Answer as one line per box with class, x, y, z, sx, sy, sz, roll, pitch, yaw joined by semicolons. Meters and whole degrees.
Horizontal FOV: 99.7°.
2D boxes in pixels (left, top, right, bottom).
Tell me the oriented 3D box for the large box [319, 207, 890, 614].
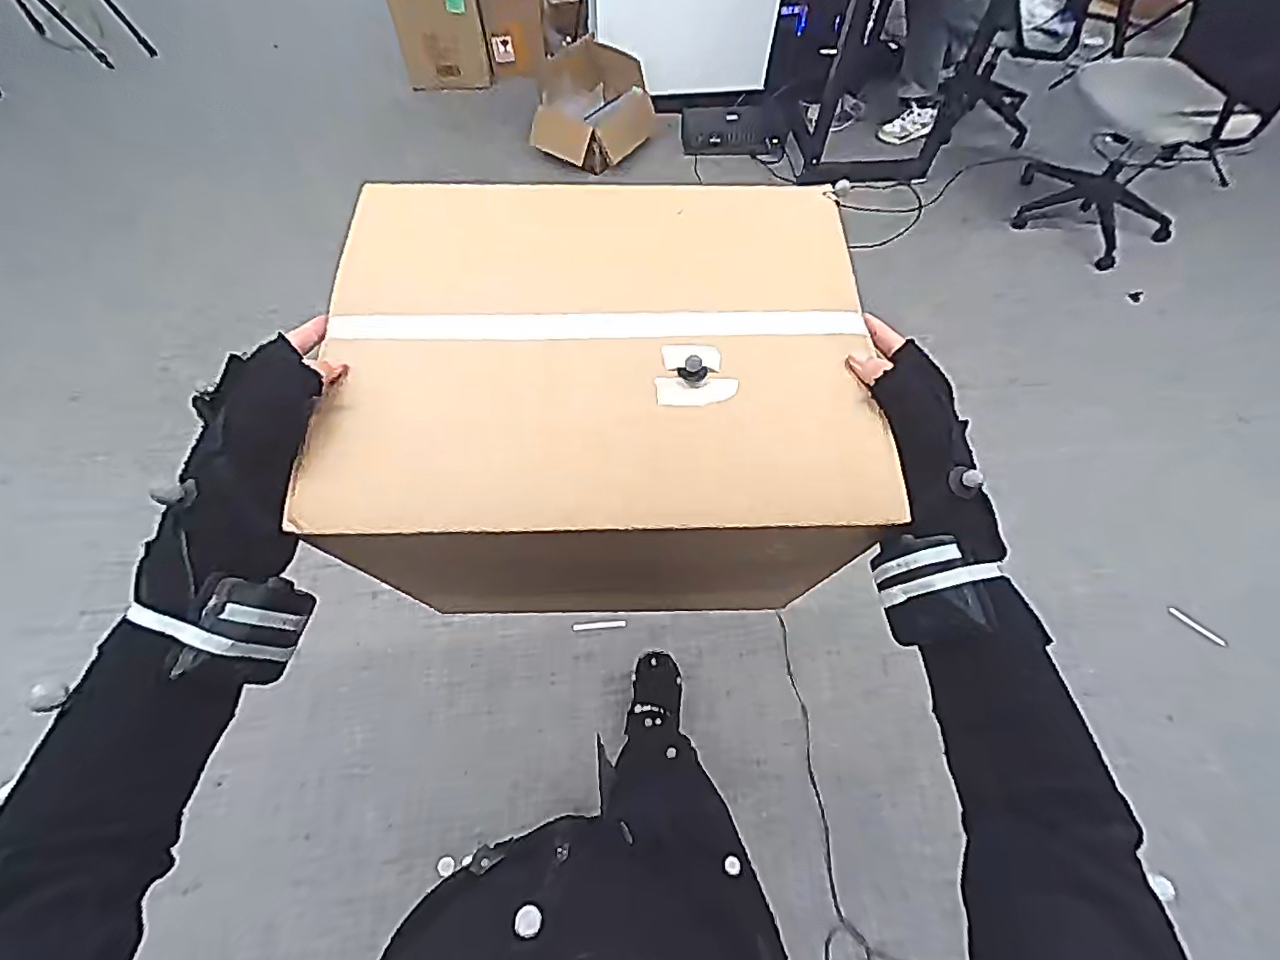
large box;-0.031;-0.049;0.567;0.408;0.320;0.320;-1;66;-2
